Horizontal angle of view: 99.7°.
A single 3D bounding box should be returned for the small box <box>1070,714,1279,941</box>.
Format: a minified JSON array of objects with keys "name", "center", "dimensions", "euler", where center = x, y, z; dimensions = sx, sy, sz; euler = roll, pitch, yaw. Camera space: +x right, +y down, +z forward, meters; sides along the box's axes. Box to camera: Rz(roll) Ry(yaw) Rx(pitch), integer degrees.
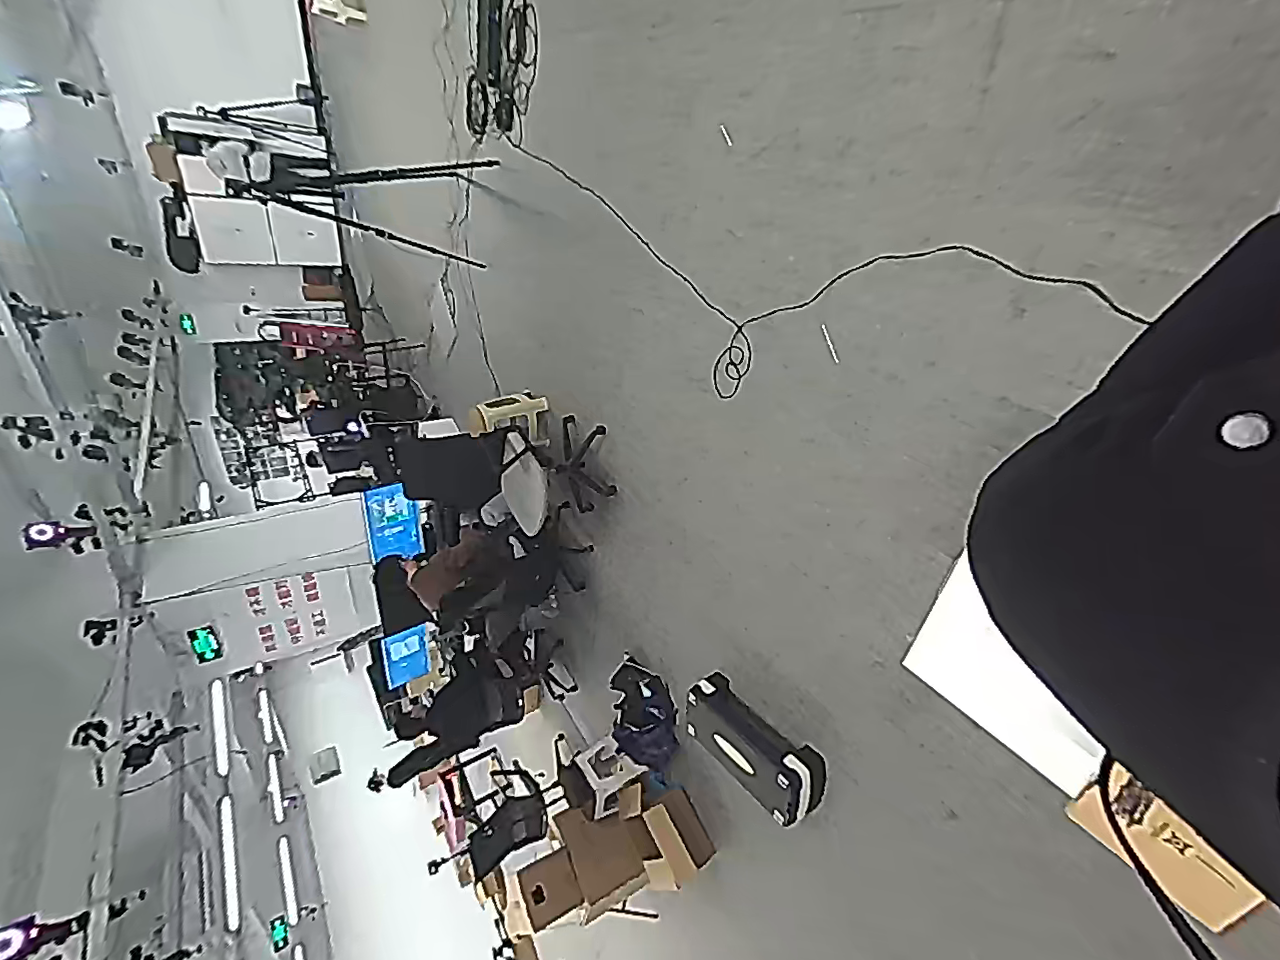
[{"name":"small box","center":[0.748,0.449,0.732],"dimensions":[0.179,0.176,0.168],"euler":[40,133,43]}]
